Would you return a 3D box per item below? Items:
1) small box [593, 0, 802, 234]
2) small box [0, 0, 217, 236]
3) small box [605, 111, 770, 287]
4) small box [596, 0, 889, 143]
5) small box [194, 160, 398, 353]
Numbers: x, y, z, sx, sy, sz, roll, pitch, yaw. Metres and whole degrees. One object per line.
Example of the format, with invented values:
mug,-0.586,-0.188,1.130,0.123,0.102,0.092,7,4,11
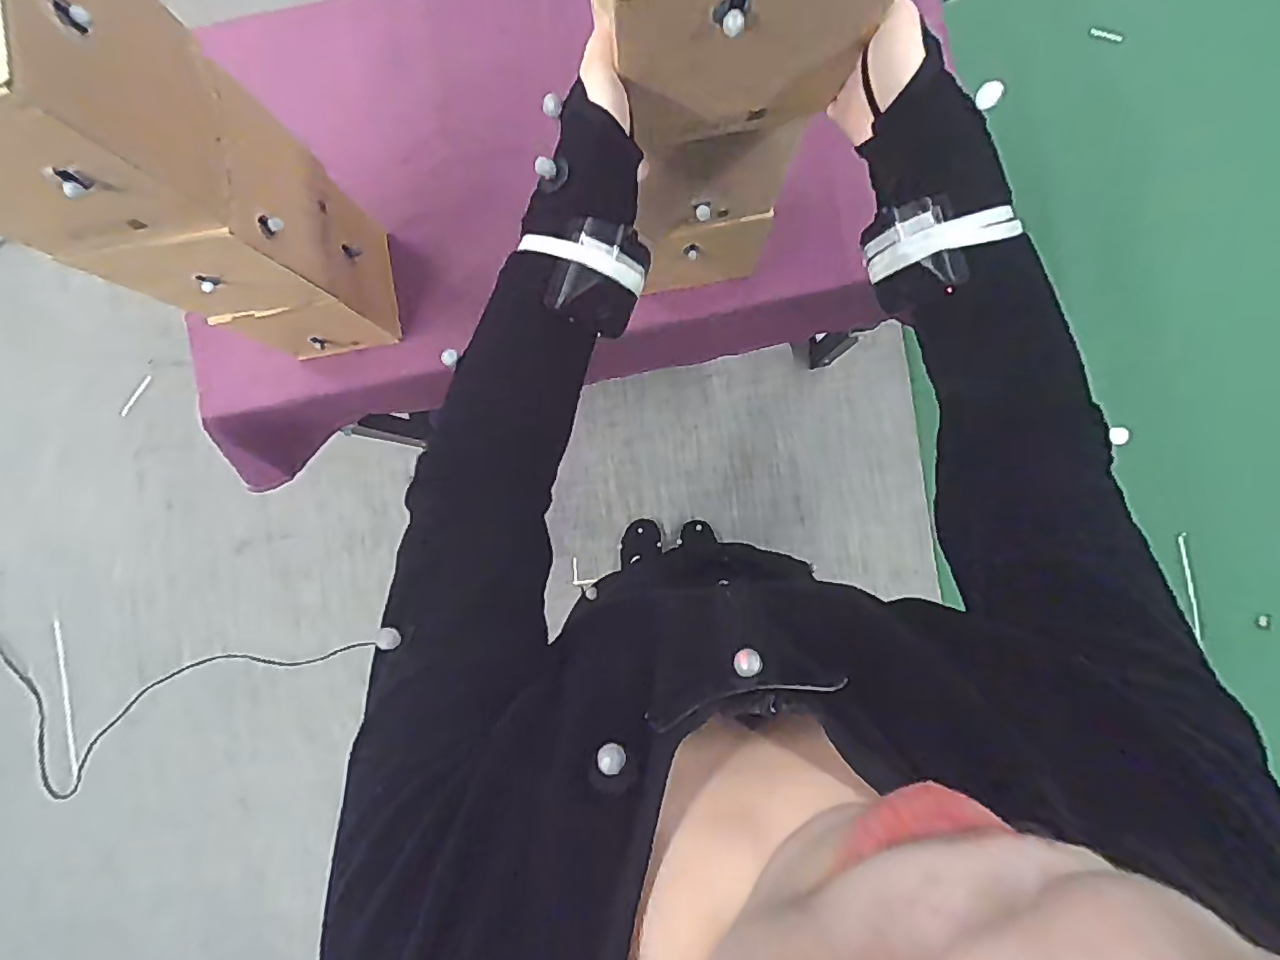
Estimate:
small box,0.051,-0.387,0.552,0.168,0.176,0.179,-12,88,3
small box,-0.465,-0.307,0.409,0.168,0.176,0.179,-8,87,1
small box,0.060,-0.374,0.716,0.179,0.176,0.168,-9,88,2
small box,0.050,-0.351,0.335,0.168,0.176,0.179,-10,98,2
small box,-0.455,-0.290,0.736,0.168,0.176,0.179,-10,88,2
